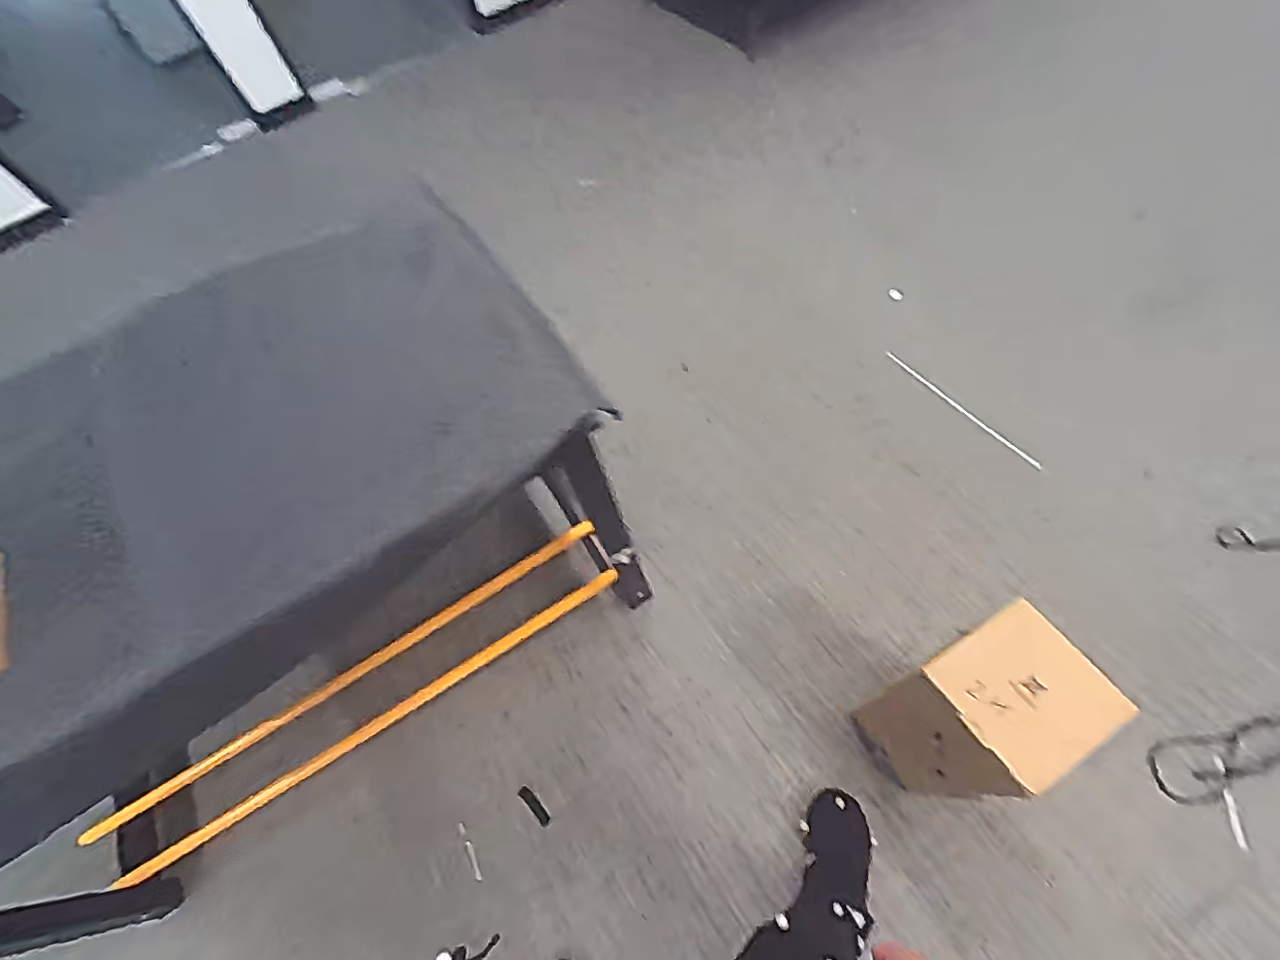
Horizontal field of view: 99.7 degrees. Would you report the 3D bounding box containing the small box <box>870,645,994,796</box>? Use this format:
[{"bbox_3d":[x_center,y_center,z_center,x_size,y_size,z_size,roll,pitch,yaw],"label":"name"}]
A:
[{"bbox_3d":[0.505,0.370,0.863,0.168,0.176,0.179,-32,61,-10],"label":"small box"}]

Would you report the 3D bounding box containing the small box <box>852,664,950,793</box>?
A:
[{"bbox_3d":[0.530,0.446,1.003,0.168,0.176,0.179,-29,63,-9],"label":"small box"}]

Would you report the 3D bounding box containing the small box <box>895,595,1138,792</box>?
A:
[{"bbox_3d":[0.479,0.286,0.723,0.179,0.176,0.168,-31,62,-9],"label":"small box"}]
